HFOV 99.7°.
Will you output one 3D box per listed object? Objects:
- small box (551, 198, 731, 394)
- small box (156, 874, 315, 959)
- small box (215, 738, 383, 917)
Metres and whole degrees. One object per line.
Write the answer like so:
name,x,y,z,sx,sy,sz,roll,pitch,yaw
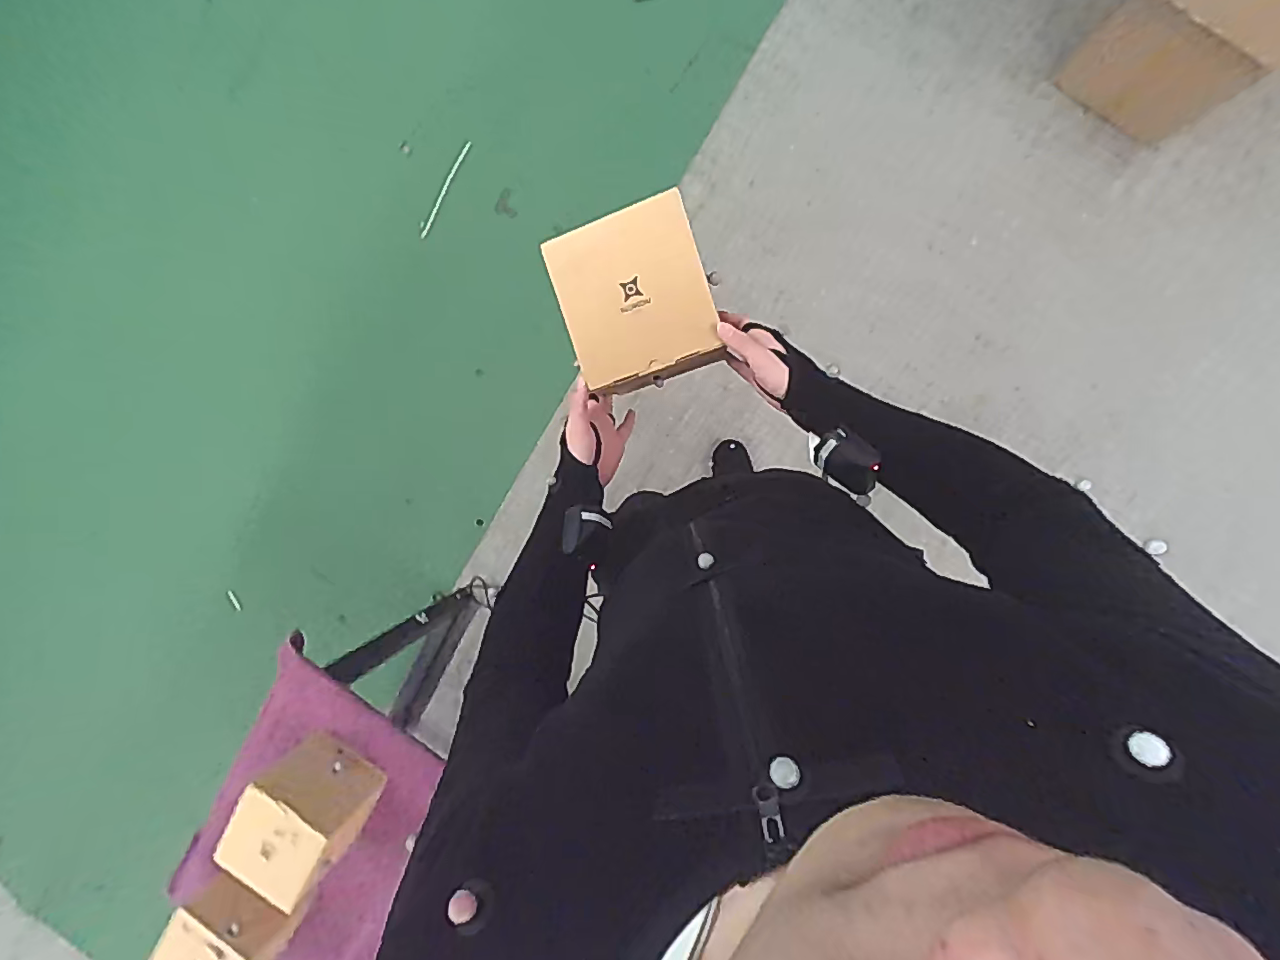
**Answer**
small box,0.009,-0.213,0.678,0.168,0.176,0.179,-17,98,9
small box,-0.773,0.872,1.039,0.168,0.176,0.179,33,99,3
small box,-0.608,0.620,0.986,0.168,0.176,0.179,31,99,3
